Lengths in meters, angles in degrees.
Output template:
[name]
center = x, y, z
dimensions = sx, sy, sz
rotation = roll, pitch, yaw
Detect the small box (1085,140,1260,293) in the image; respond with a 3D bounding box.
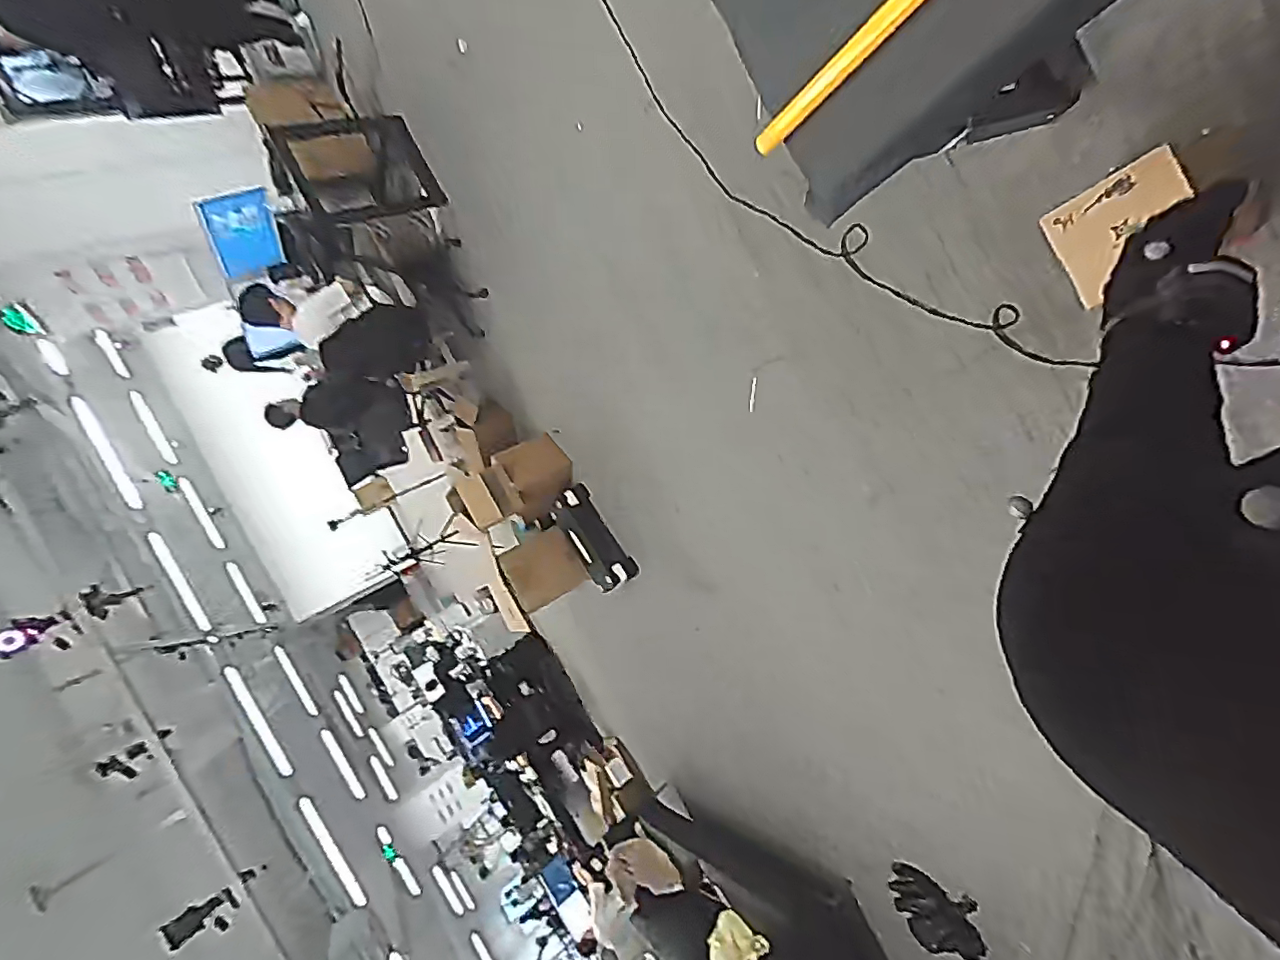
[small box]
center = 0.908, -0.450, 0.923
dimensions = 0.168, 0.176, 0.179
rotation = -9, 107, 59
